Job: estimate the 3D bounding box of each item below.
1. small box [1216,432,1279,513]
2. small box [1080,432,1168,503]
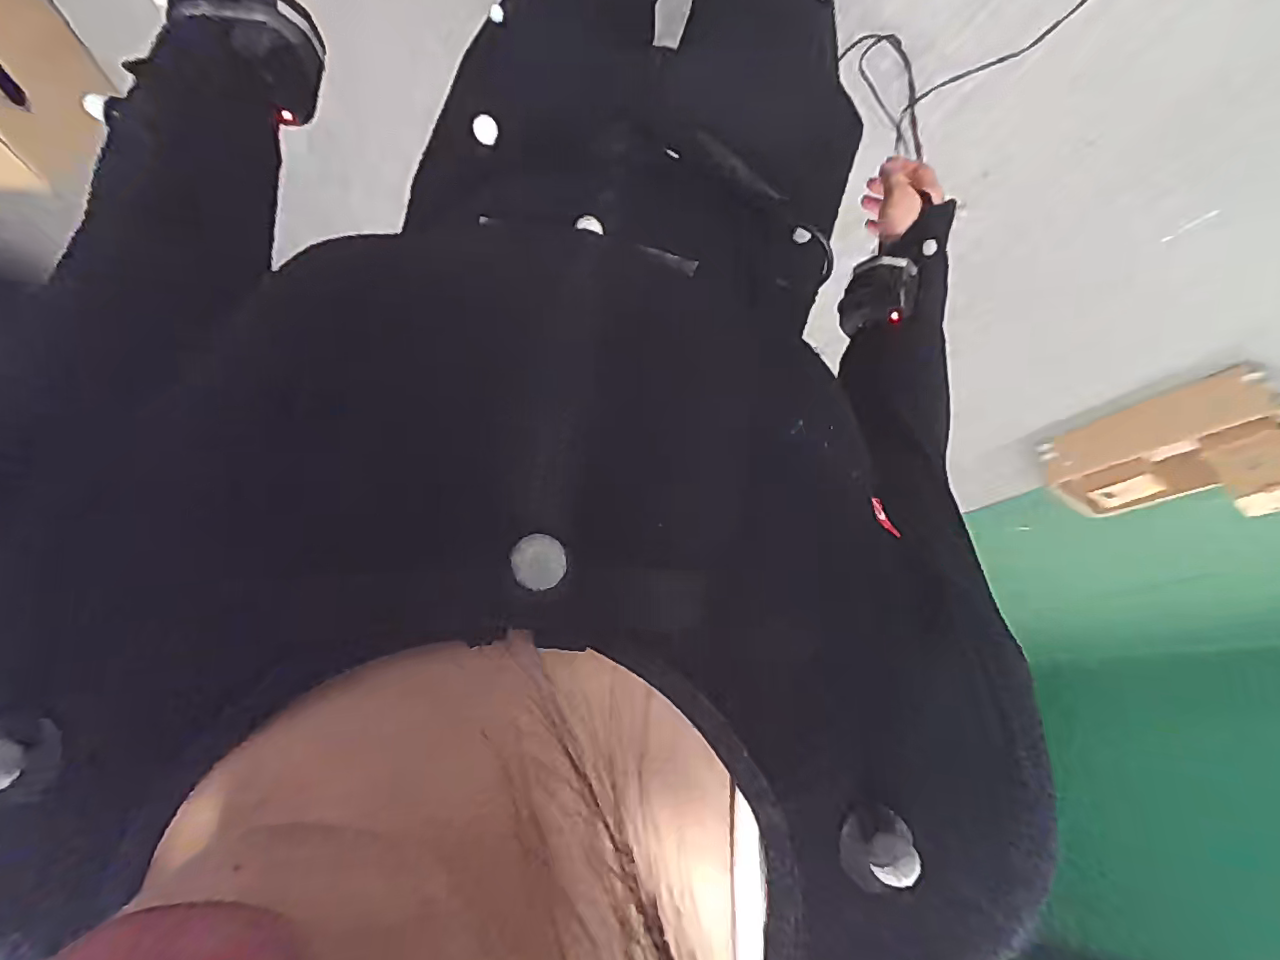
[{"bbox_3d":[1.899,-0.027,1.628,0.179,0.176,0.168,24,145,-27],"label":"small box"},{"bbox_3d":[1.736,-0.045,1.952,0.168,0.176,0.179,22,145,-26],"label":"small box"}]
